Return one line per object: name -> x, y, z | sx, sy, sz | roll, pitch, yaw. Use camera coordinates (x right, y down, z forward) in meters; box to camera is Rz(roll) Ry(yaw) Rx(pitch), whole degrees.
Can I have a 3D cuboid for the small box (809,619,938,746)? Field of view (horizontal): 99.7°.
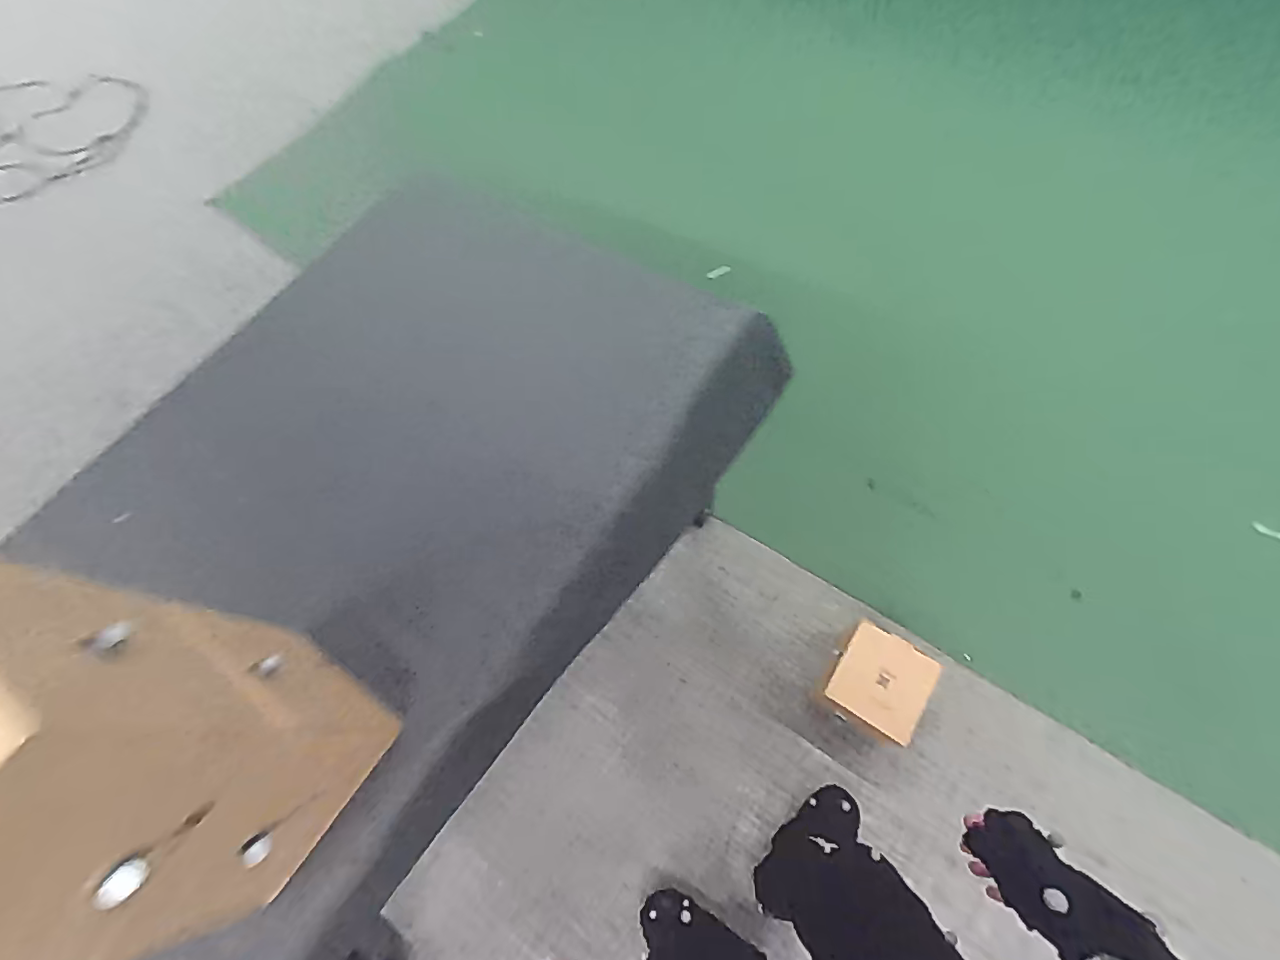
small box -> 0.469, 0.417, 1.116 | 0.168, 0.176, 0.179 | 31, 74, 18
